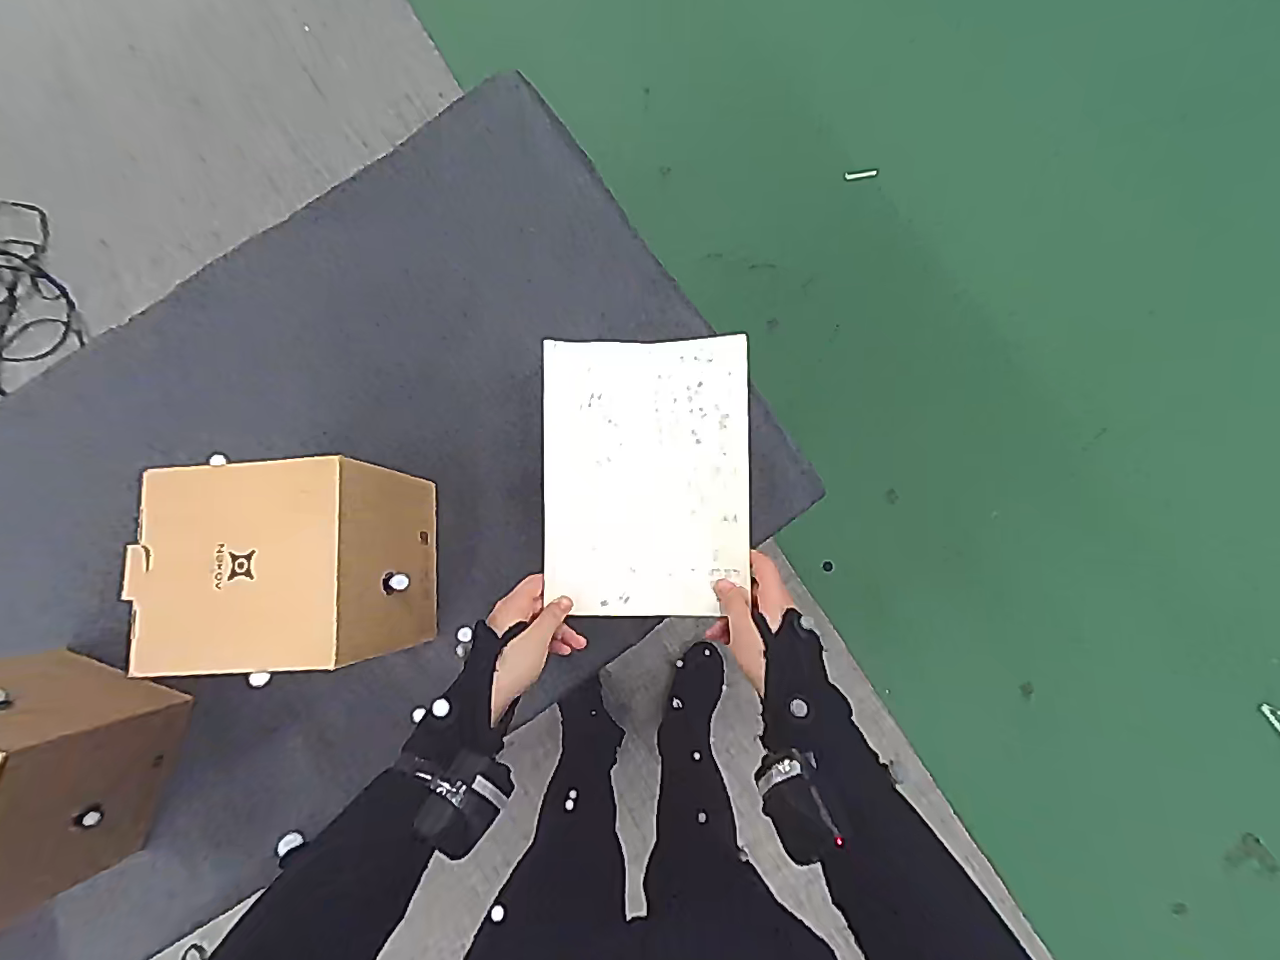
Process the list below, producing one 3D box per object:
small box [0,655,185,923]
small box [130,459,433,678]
[{"bbox_3d":[-0.588,0.277,0.502,0.179,0.176,0.168,16,84,7],"label":"small box"},{"bbox_3d":[-0.308,0.077,0.501,0.179,0.176,0.168,-5,83,6],"label":"small box"}]
